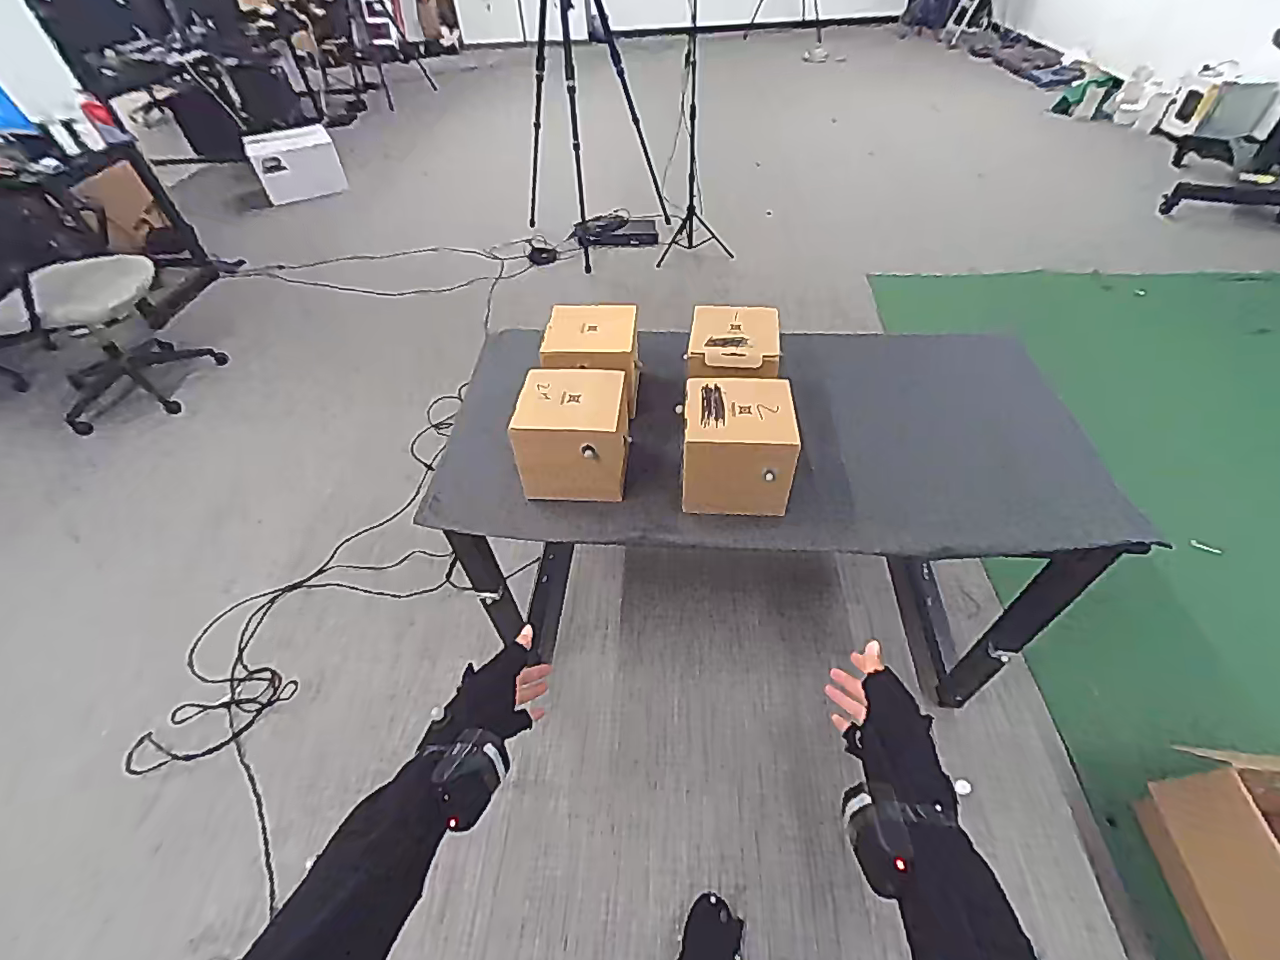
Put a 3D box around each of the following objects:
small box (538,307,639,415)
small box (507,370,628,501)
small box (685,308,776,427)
[{"bbox_3d":[-0.096,-0.238,1.115,0.179,0.176,0.168,0,48,5],"label":"small box"},{"bbox_3d":[-0.116,-0.077,0.961,0.179,0.176,0.168,1,46,4],"label":"small box"},{"bbox_3d":[0.180,-0.224,1.084,0.168,0.176,0.179,5,47,7],"label":"small box"}]
